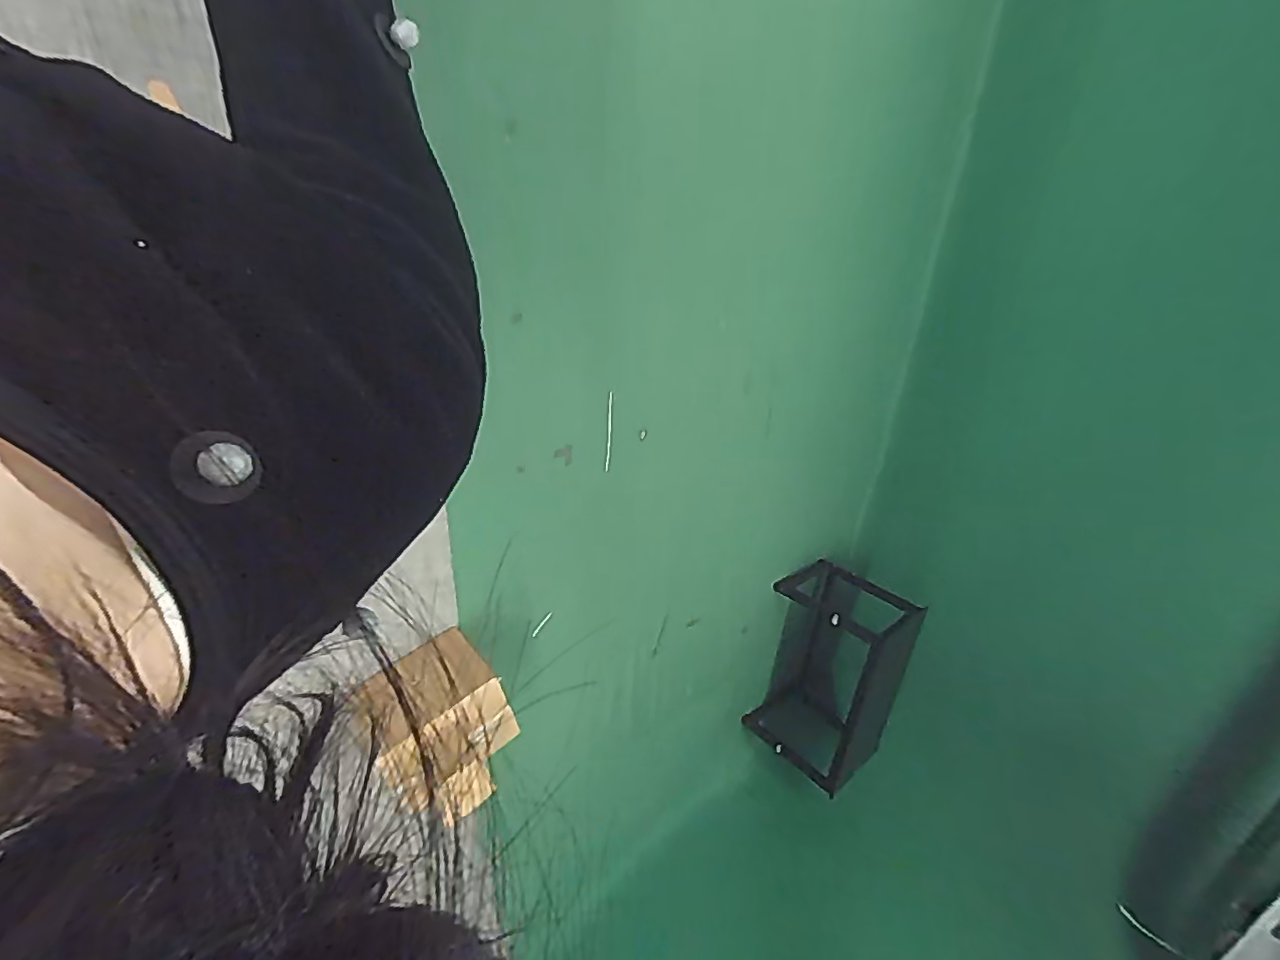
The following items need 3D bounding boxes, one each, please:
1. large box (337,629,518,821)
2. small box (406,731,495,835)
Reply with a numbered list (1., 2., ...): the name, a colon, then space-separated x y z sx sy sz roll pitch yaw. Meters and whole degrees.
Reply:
1. large box: -0.681 0.776 1.760 0.408 0.320 0.320 -32 131 -31
2. small box: -0.551 0.866 1.567 0.168 0.176 0.179 -30 128 -31
